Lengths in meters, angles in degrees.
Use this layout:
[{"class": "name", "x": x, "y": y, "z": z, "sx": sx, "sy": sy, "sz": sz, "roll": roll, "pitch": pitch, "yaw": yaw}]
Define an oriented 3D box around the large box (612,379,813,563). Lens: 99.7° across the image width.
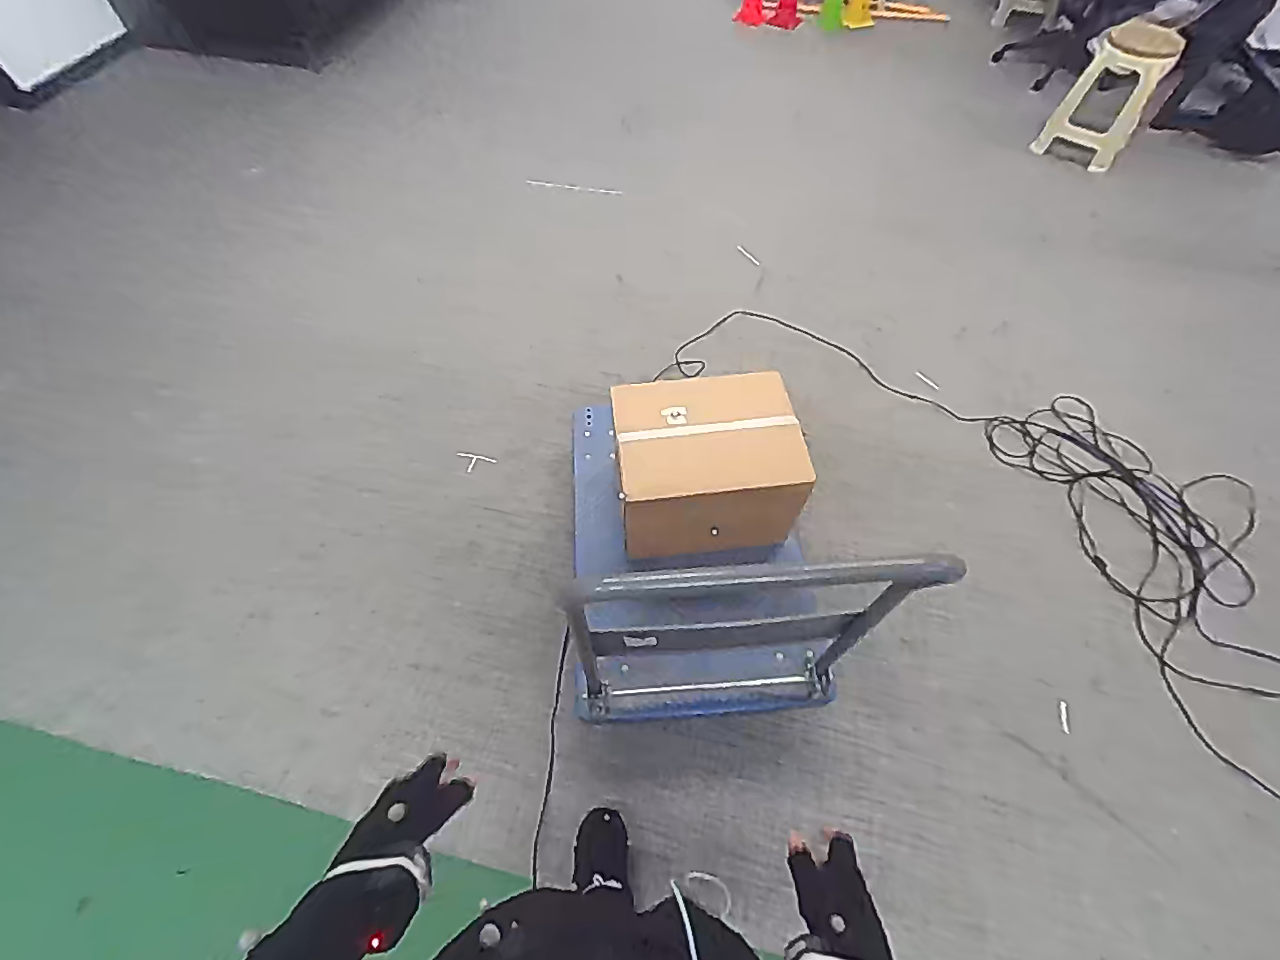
[{"class": "large box", "x": 0.151, "y": -0.014, "z": 1.326, "sx": 0.408, "sy": 0.320, "sz": 0.320, "roll": -6, "pitch": 58, "yaw": -4}]
